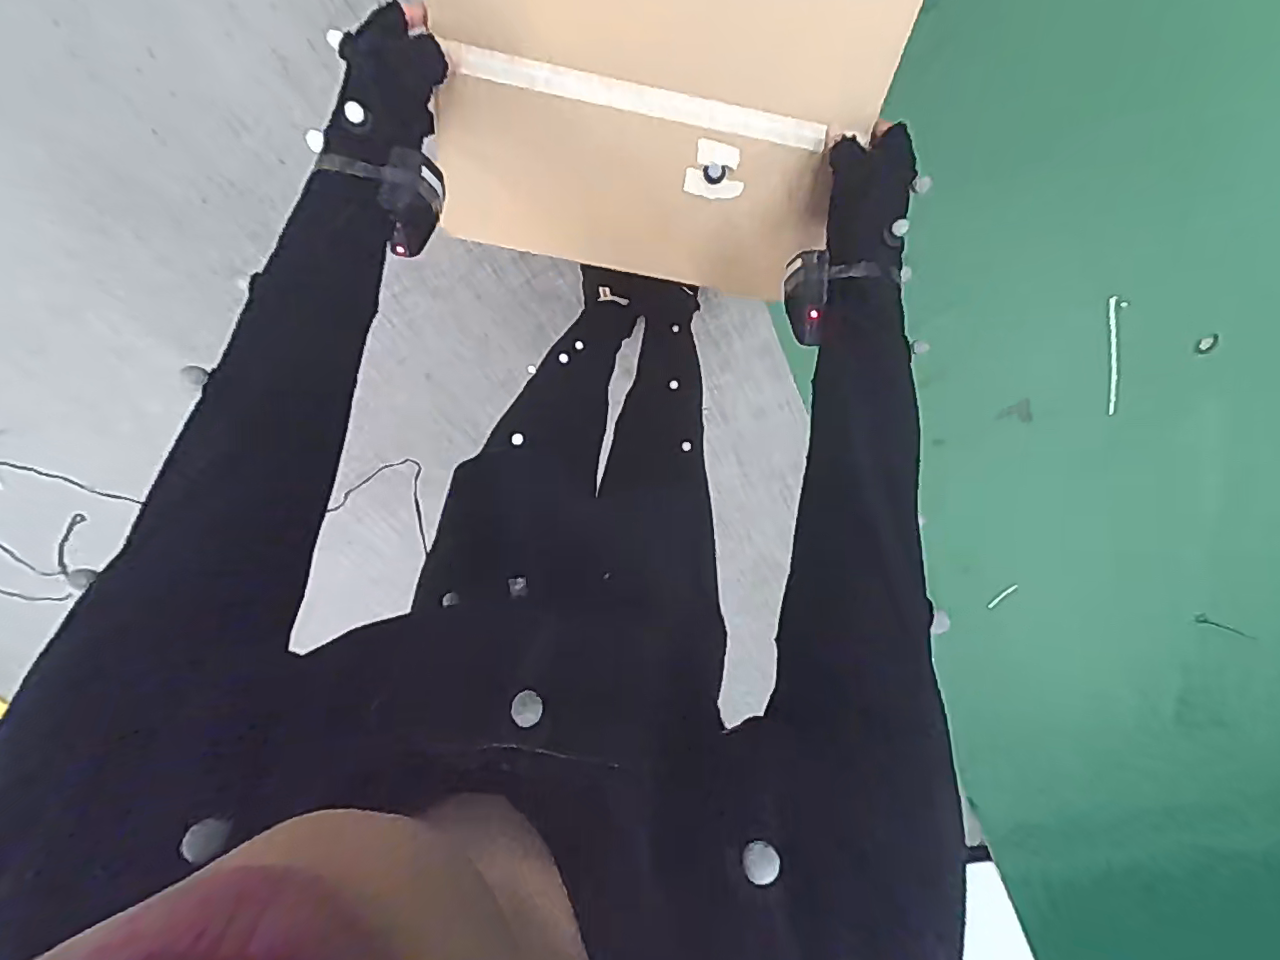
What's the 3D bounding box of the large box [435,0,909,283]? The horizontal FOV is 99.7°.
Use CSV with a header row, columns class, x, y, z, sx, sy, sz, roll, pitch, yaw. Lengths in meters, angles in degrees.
class,x,y,z,sx,sy,sz,roll,pitch,yaw
large box,0.015,-0.454,0.609,0.408,0.320,0.320,8,129,-7
